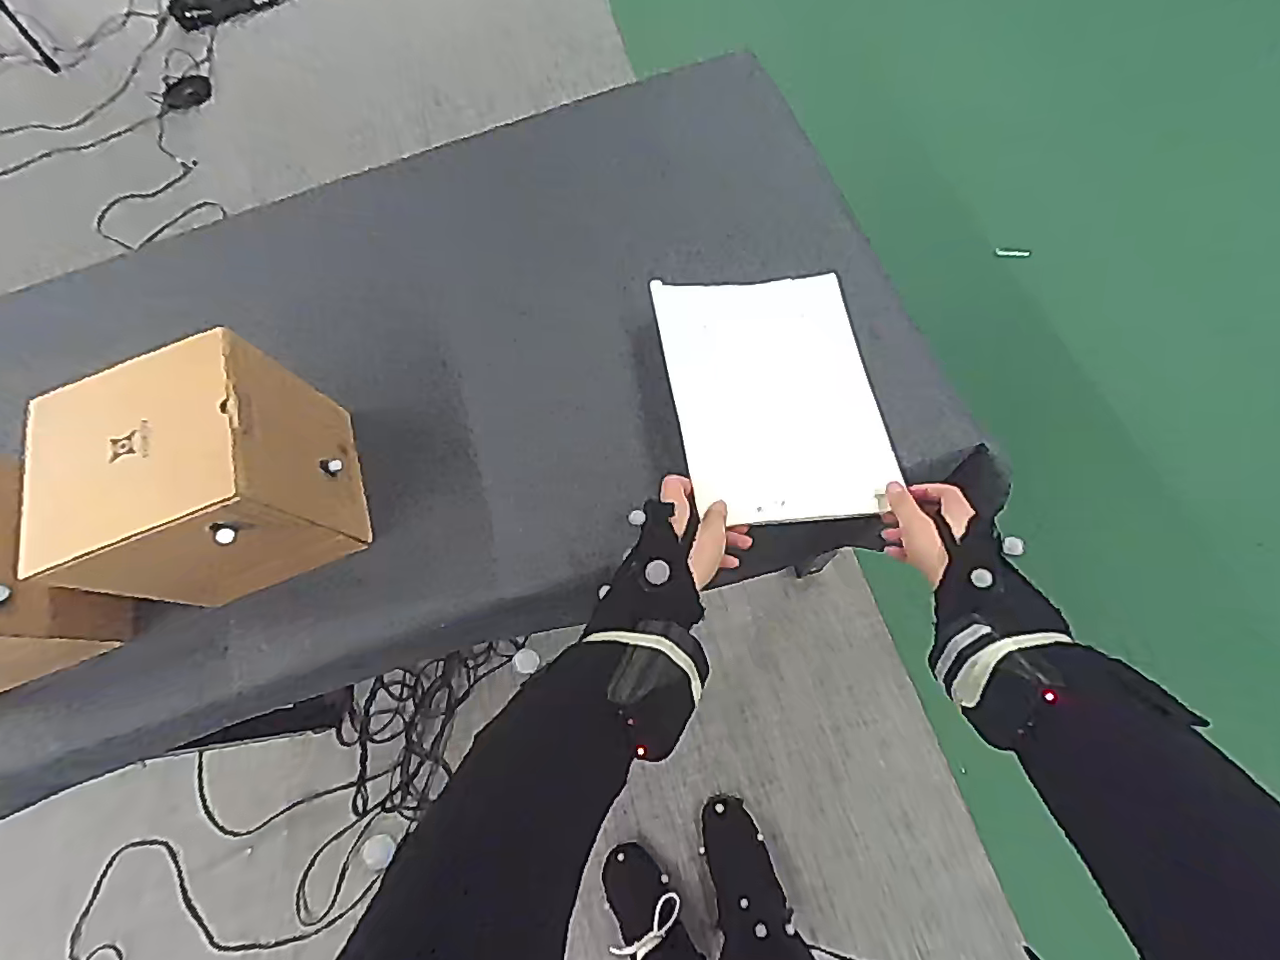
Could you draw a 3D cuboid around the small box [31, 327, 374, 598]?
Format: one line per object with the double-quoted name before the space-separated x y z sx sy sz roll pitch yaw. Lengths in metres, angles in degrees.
"small box" -0.386 -0.002 0.504 0.179 0.176 0.168 -22 69 -1
